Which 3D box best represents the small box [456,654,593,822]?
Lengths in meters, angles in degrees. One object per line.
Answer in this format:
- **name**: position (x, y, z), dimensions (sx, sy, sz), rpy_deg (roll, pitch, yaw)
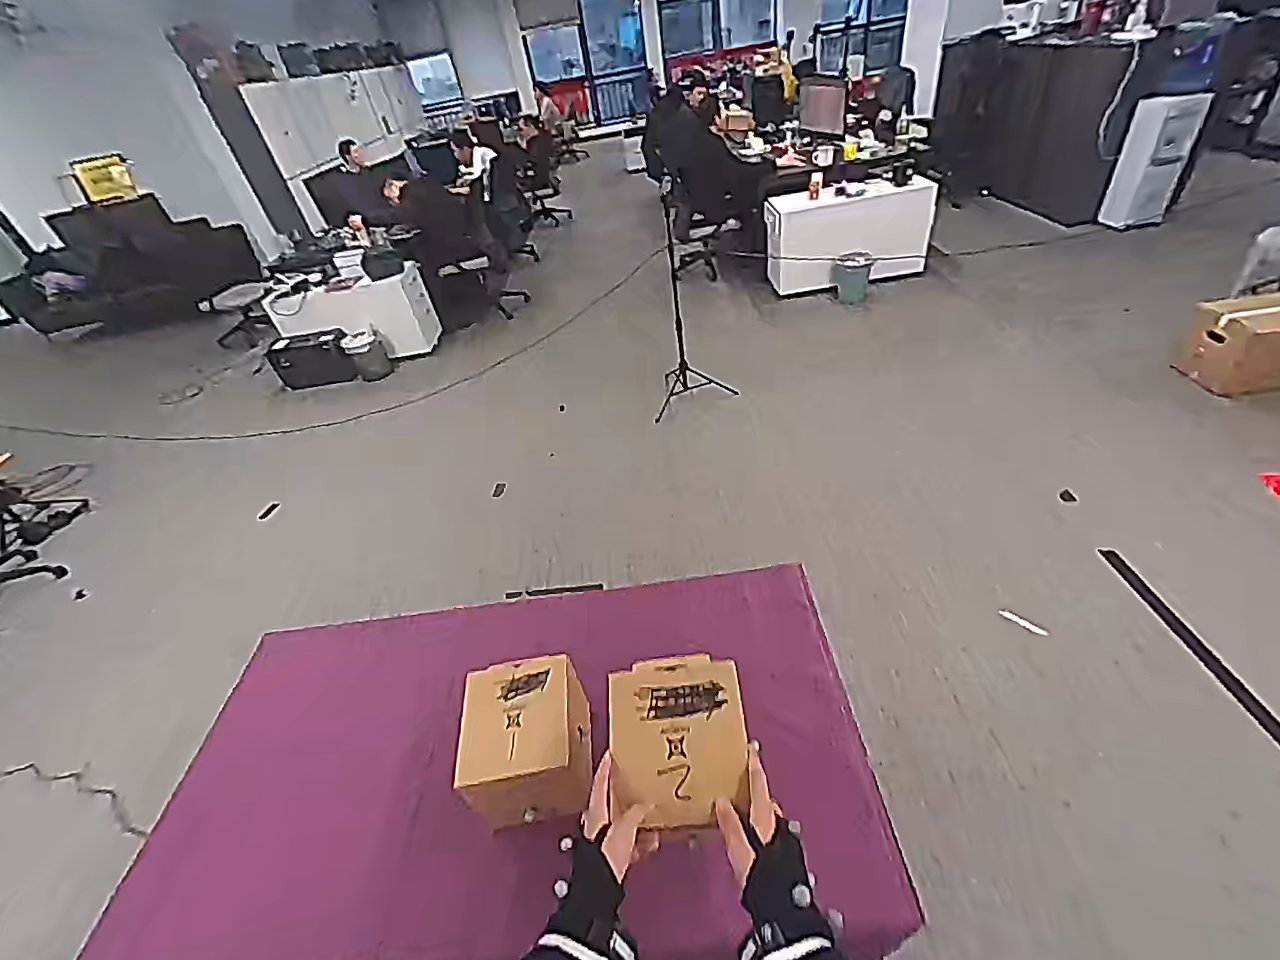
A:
- **small box**: position (-0.174, 0.412, 0.866), dimensions (0.168, 0.176, 0.179), rpy_deg (-11, 40, 0)
